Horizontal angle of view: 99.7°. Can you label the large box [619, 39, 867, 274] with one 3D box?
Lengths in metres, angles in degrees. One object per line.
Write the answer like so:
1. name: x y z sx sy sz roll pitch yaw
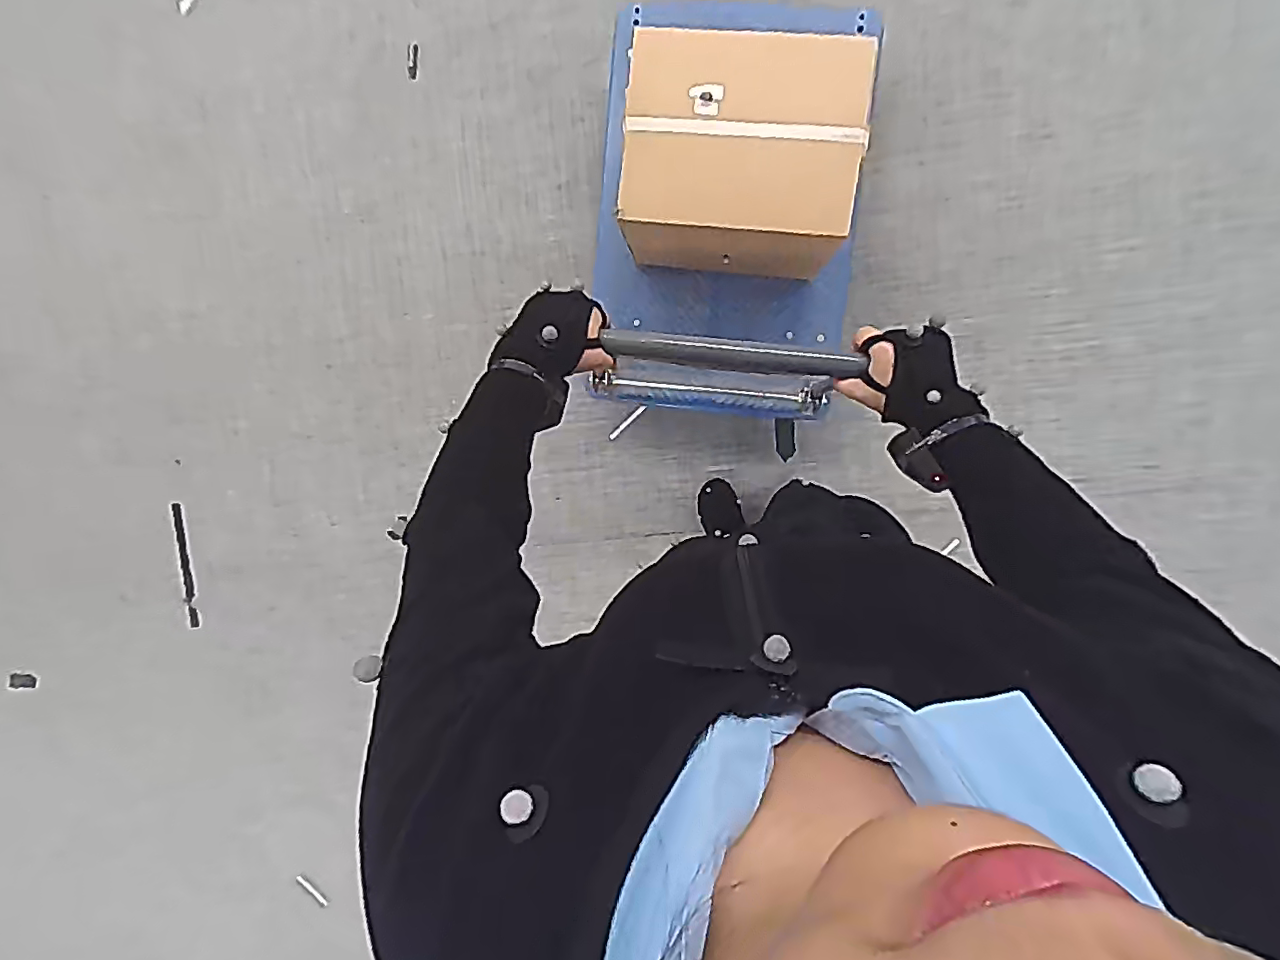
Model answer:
1. large box: 0.192 -0.617 1.087 0.408 0.320 0.320 7 97 7
